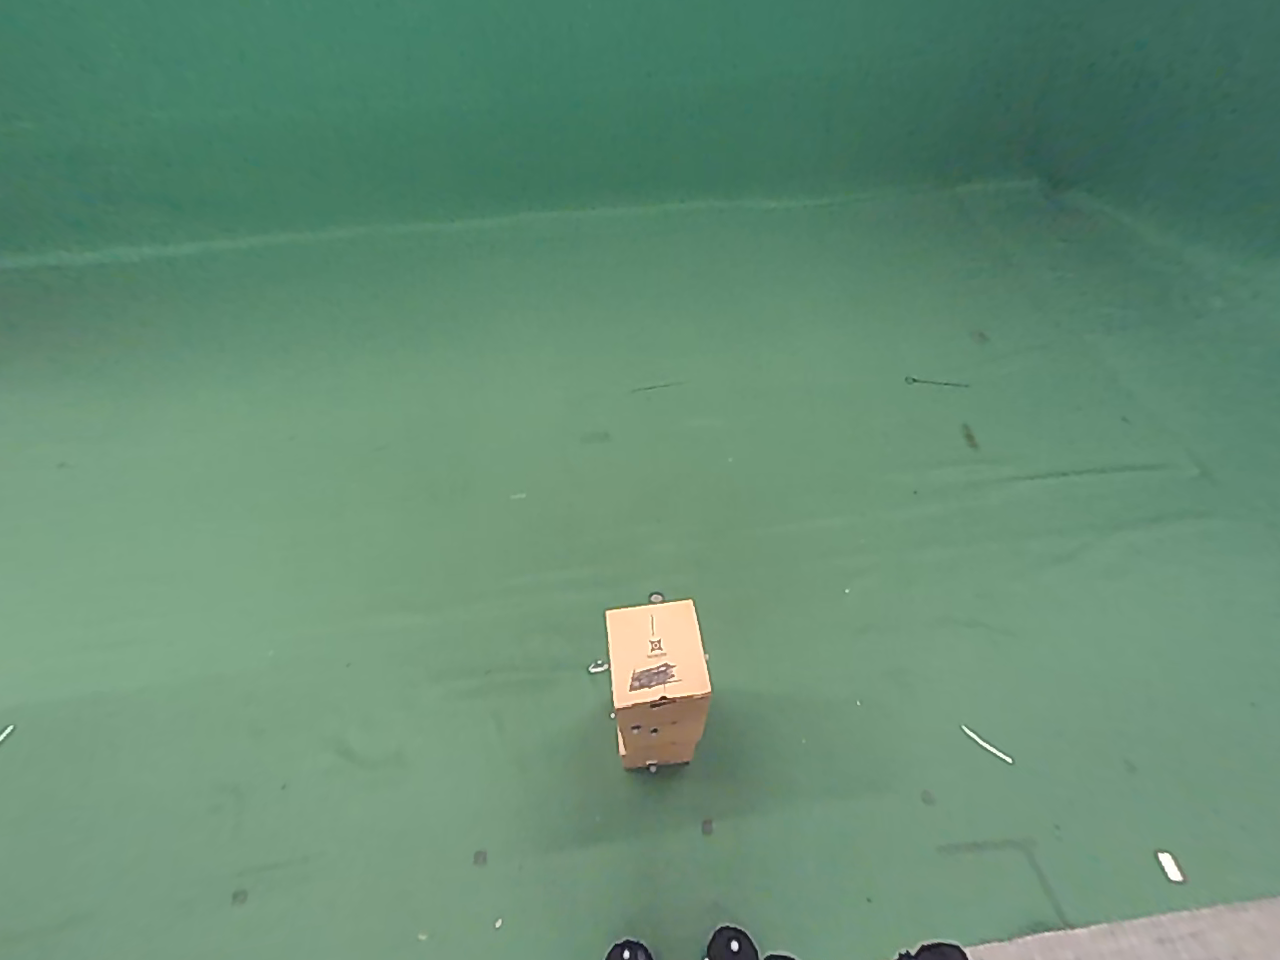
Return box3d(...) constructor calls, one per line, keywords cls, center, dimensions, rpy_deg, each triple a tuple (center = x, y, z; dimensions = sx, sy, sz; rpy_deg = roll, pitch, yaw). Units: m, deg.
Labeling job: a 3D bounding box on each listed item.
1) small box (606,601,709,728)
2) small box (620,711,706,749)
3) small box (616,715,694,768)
box3d(cls="small box", center=(0.031, 0.349, 1.007), dimensions=(0.168, 0.176, 0.179), rpy_deg=(-6, 51, -3))
box3d(cls="small box", center=(0.037, 0.450, 1.137), dimensions=(0.168, 0.176, 0.179), rpy_deg=(-7, 51, -3))
box3d(cls="small box", center=(0.030, 0.546, 1.247), dimensions=(0.168, 0.176, 0.179), rpy_deg=(-5, 52, 0))
